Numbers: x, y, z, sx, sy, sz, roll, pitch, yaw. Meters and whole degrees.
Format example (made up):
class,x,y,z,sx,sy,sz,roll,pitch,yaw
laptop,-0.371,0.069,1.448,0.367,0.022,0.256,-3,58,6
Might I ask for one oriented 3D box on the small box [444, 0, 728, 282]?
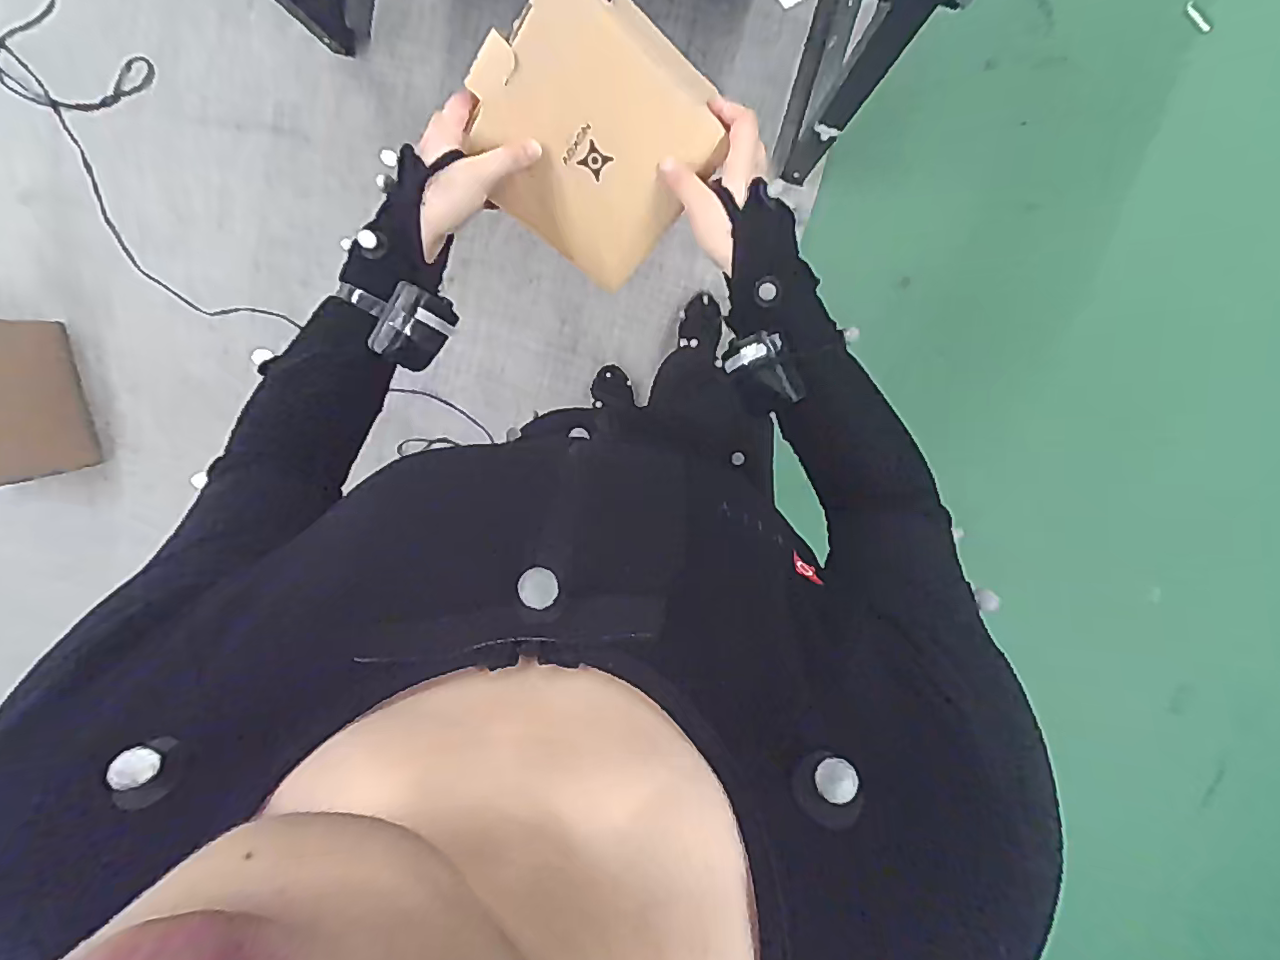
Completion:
class,x,y,z,sx,sy,sz,roll,pitch,yaw
small box,-0.042,-0.326,0.489,0.179,0.176,0.168,30,130,-25

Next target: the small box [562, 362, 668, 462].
class,x,y,z,sx,sy,sz,roll,pitch,yaw
small box,-0.056,-0.171,1.354,0.176,0.168,0.179,40,78,-35
